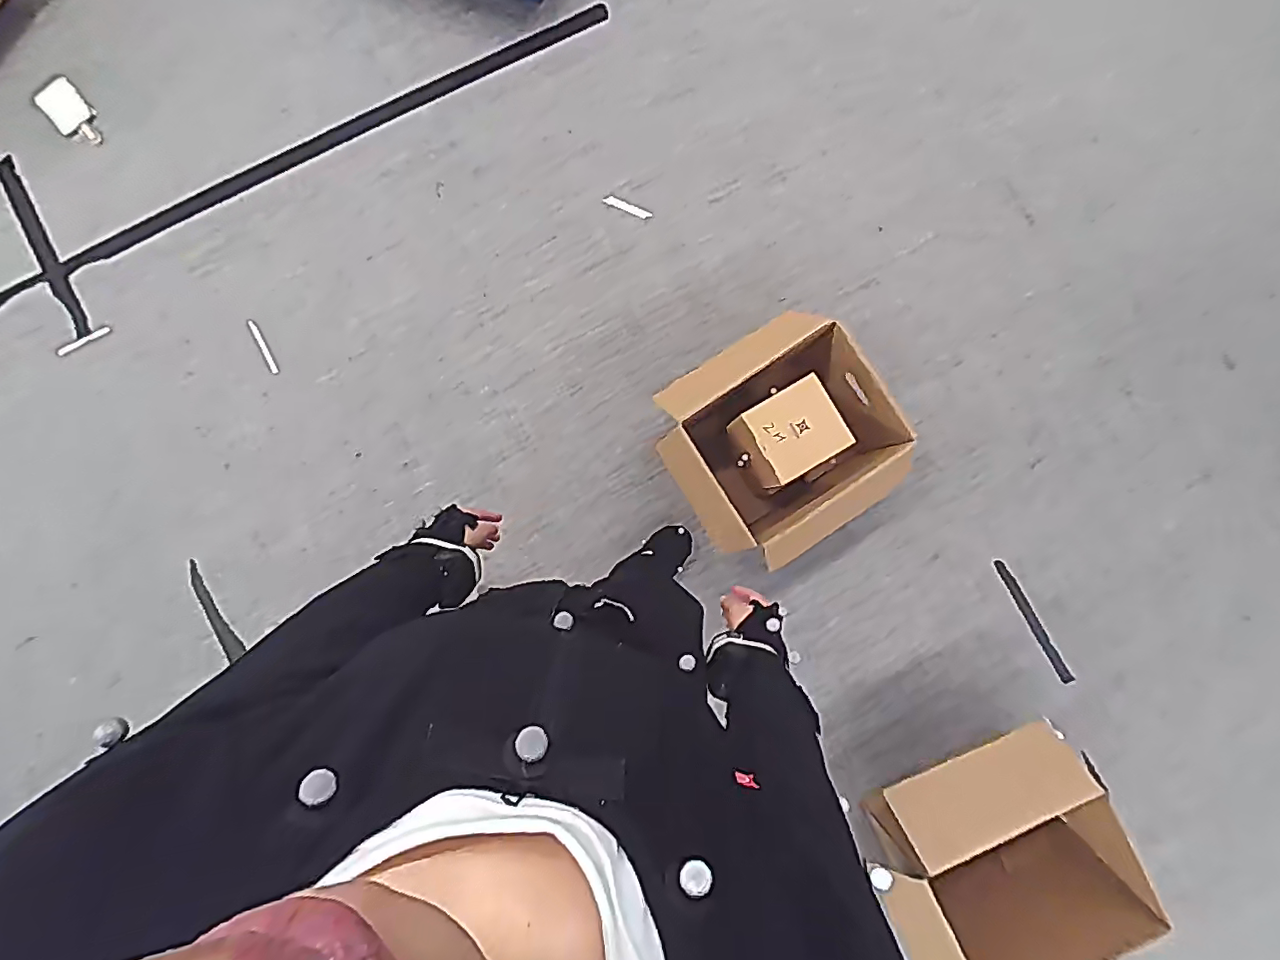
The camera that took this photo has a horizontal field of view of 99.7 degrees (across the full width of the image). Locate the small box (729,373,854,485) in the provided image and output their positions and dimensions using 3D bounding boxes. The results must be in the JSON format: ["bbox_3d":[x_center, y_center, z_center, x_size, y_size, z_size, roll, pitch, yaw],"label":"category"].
[{"bbox_3d":[0.313,-0.101,1.158,0.179,0.176,0.168,-30,87,-3],"label":"small box"}]
